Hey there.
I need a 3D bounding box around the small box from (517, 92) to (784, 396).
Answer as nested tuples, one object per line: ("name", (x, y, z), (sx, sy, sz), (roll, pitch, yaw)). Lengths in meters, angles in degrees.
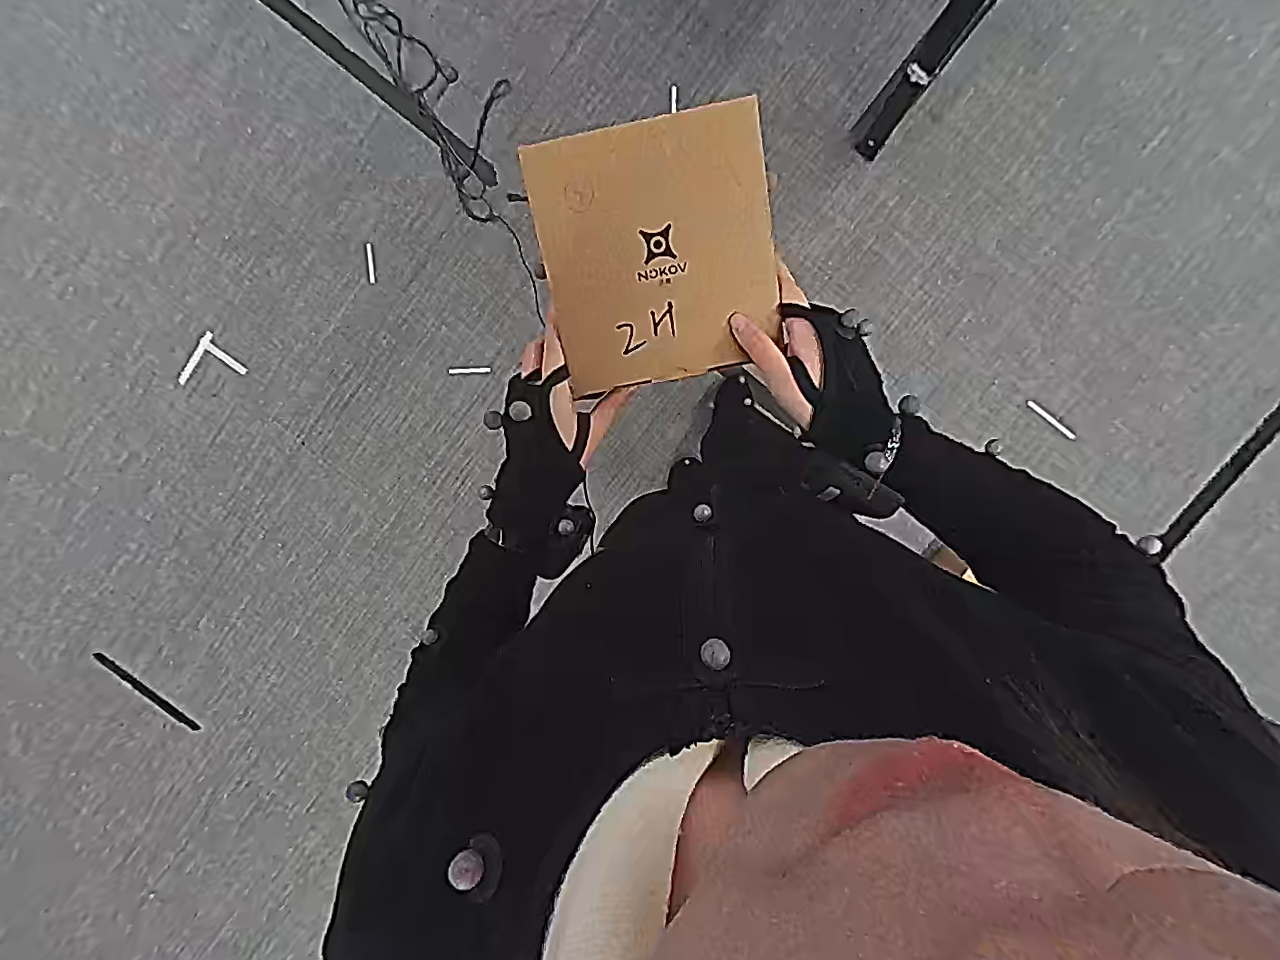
("small box", (0.011, -0.180, 0.453), (0.168, 0.176, 0.179), (-10, 107, 4))
